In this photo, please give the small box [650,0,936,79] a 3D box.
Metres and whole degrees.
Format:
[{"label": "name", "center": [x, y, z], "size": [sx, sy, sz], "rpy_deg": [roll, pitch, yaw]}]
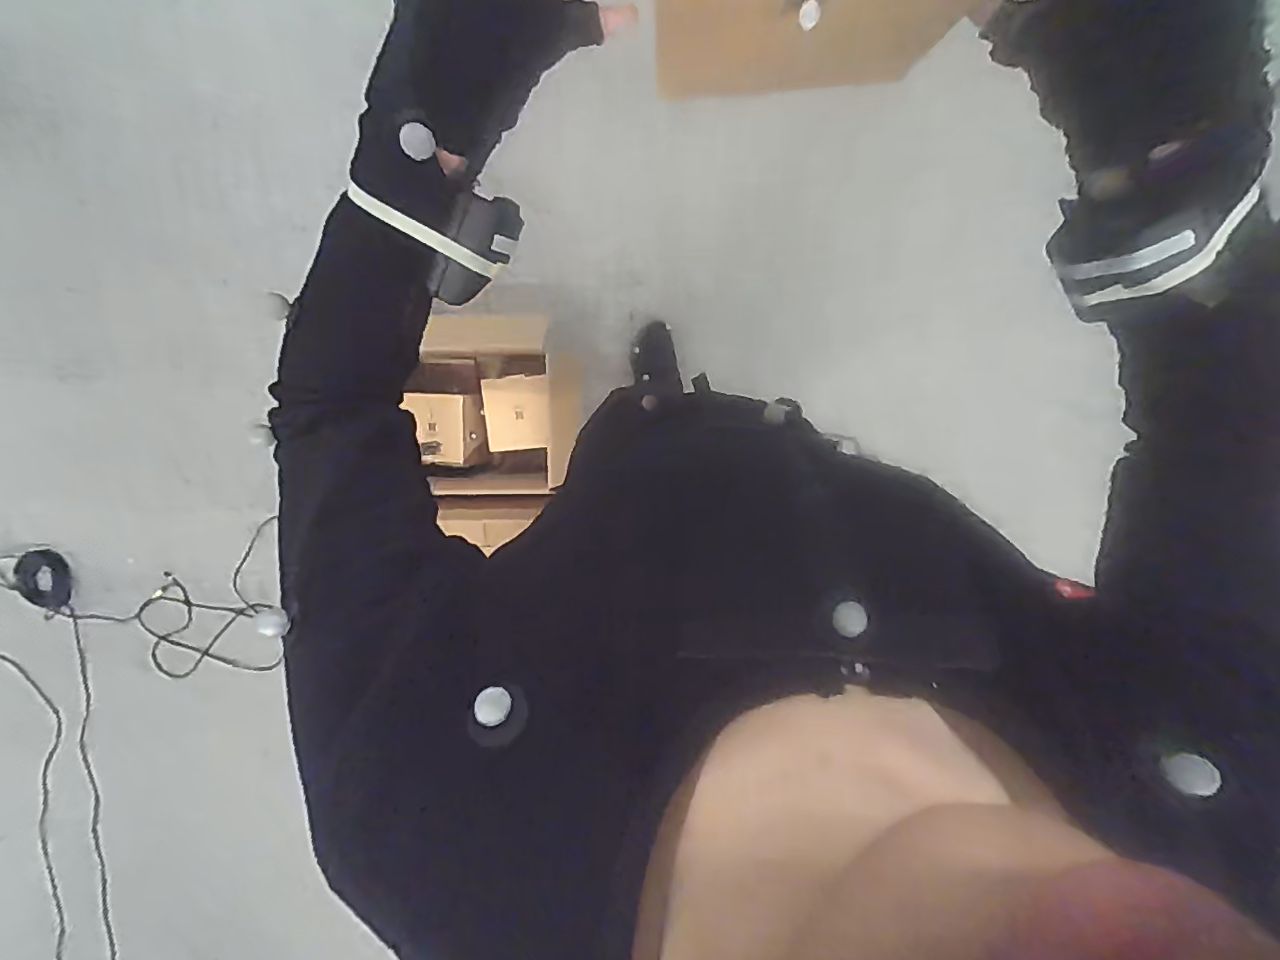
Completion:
[{"label": "small box", "center": [0.089, -0.347, 0.292], "size": [0.179, 0.176, 0.168], "rpy_deg": [-3, 107, 2]}]
